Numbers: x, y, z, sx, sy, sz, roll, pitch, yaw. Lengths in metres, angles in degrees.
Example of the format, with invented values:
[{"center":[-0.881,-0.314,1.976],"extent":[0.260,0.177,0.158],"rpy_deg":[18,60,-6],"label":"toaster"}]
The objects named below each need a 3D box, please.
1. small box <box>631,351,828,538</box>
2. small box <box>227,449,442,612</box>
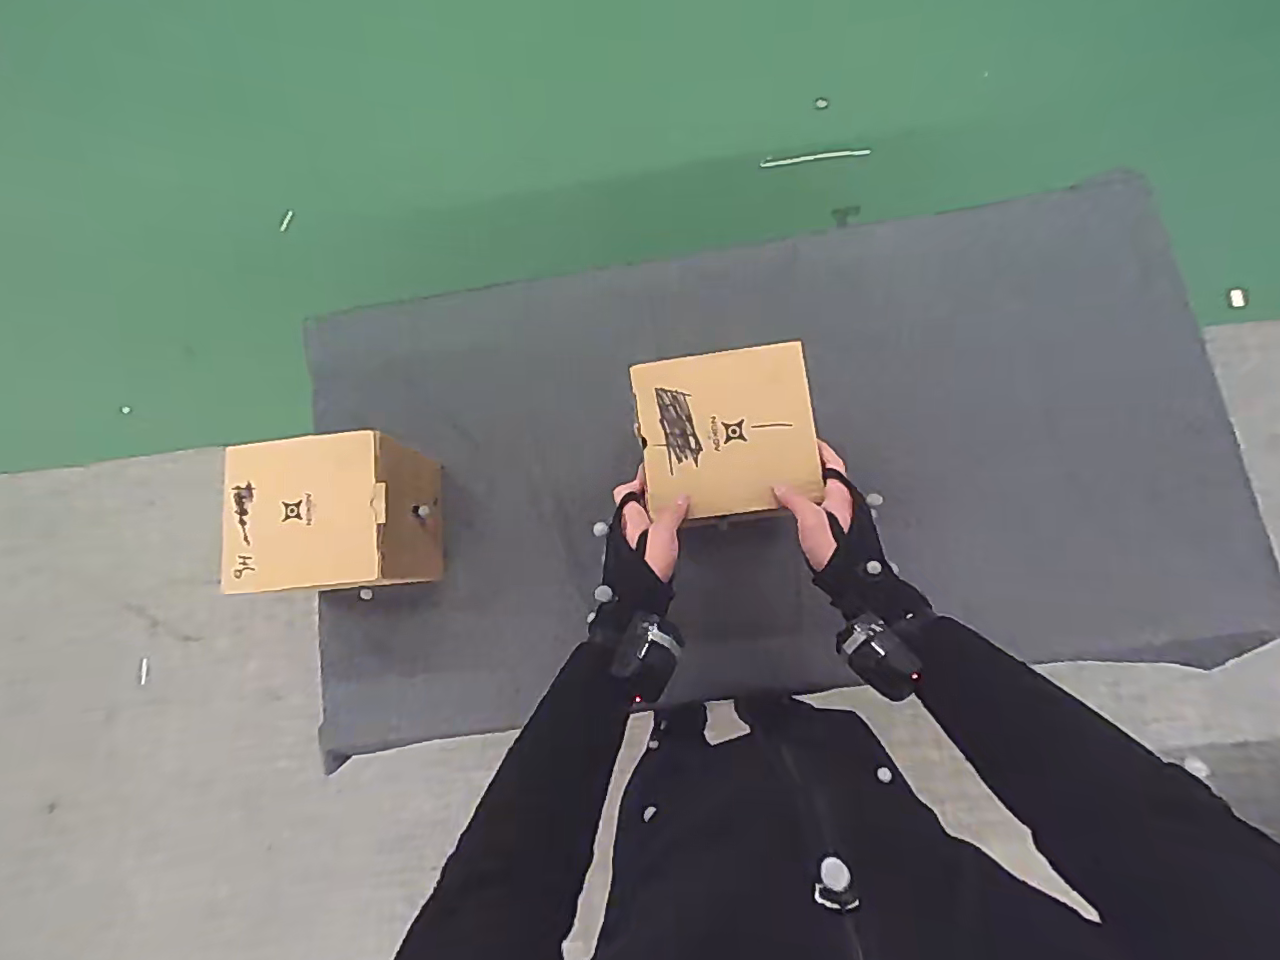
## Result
[{"center":[0.094,-0.027,0.610],"extent":[0.179,0.176,0.168],"rpy_deg":[-8,81,4],"label":"small box"},{"center":[-0.355,0.066,0.662],"extent":[0.179,0.176,0.168],"rpy_deg":[-6,79,2],"label":"small box"}]
